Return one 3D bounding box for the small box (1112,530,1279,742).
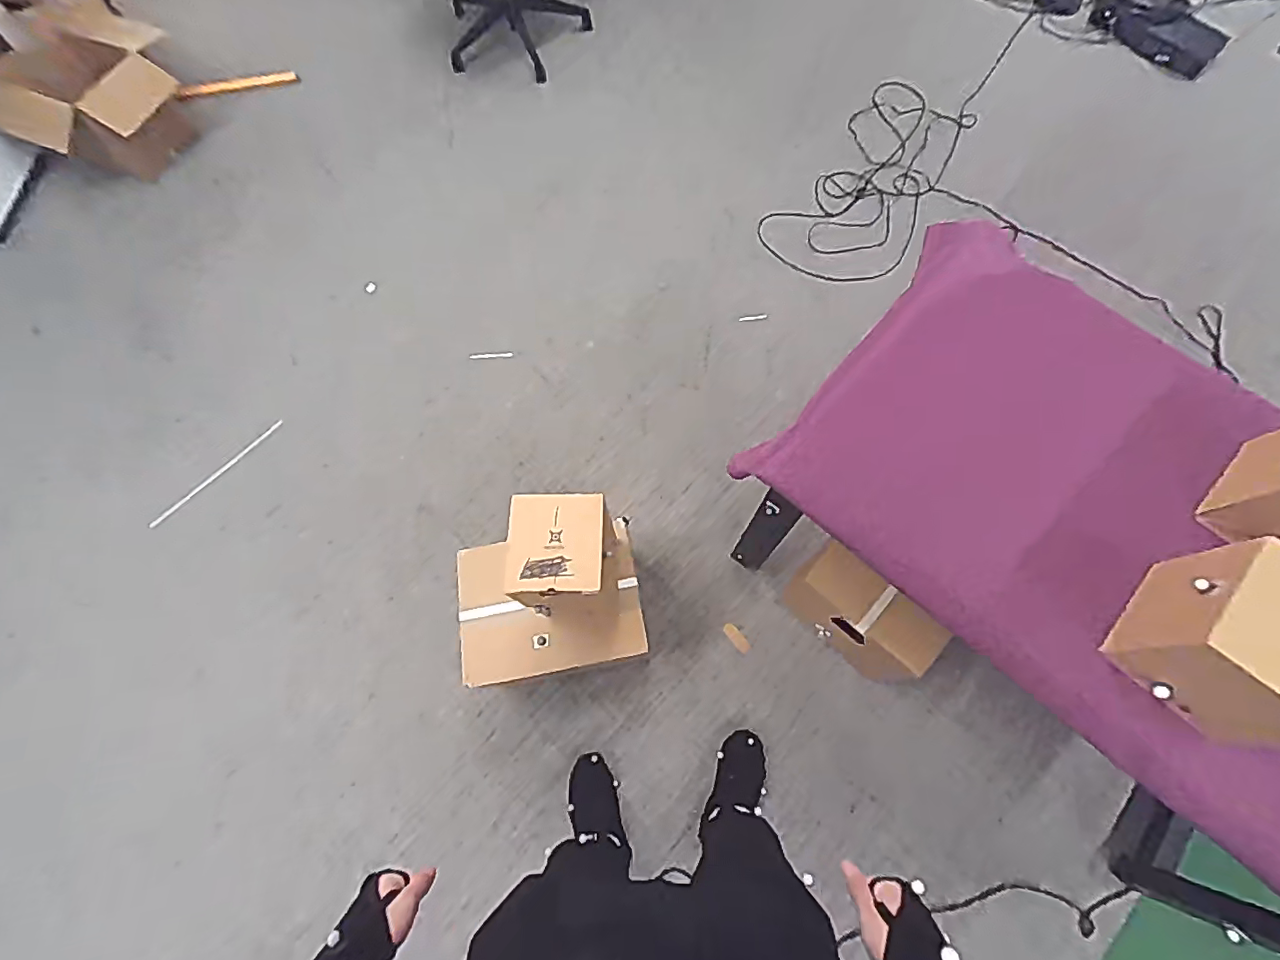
[{"bbox_3d":[0.741,0.190,0.656,0.168,0.176,0.179,42,76,16],"label":"small box"}]

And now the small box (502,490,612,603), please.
[{"bbox_3d":[-0.141,0.127,0.987,0.168,0.176,0.179,-1,68,2],"label":"small box"}]

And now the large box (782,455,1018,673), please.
[{"bbox_3d":[0.621,0.222,1.354,0.320,0.320,0.408,41,76,14],"label":"large box"}]

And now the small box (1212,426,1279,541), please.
[{"bbox_3d":[0.940,0.009,0.714,0.179,0.176,0.168,-44,74,-11],"label":"small box"}]
